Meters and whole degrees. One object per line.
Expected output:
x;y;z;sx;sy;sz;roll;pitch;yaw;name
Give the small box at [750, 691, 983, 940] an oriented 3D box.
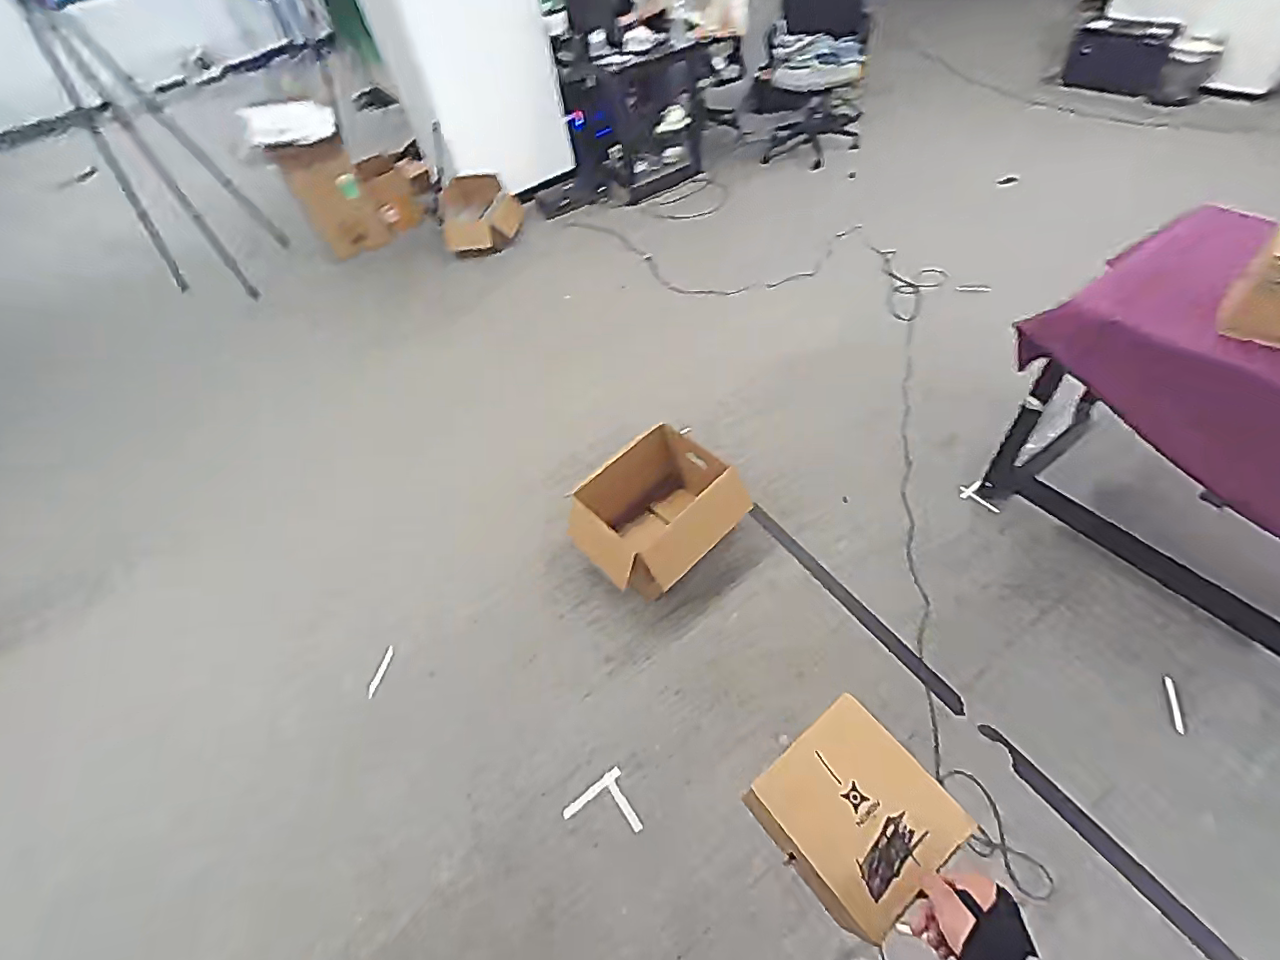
0.253;0.392;0.650;0.168;0.176;0.179;-34;58;-16;small box
